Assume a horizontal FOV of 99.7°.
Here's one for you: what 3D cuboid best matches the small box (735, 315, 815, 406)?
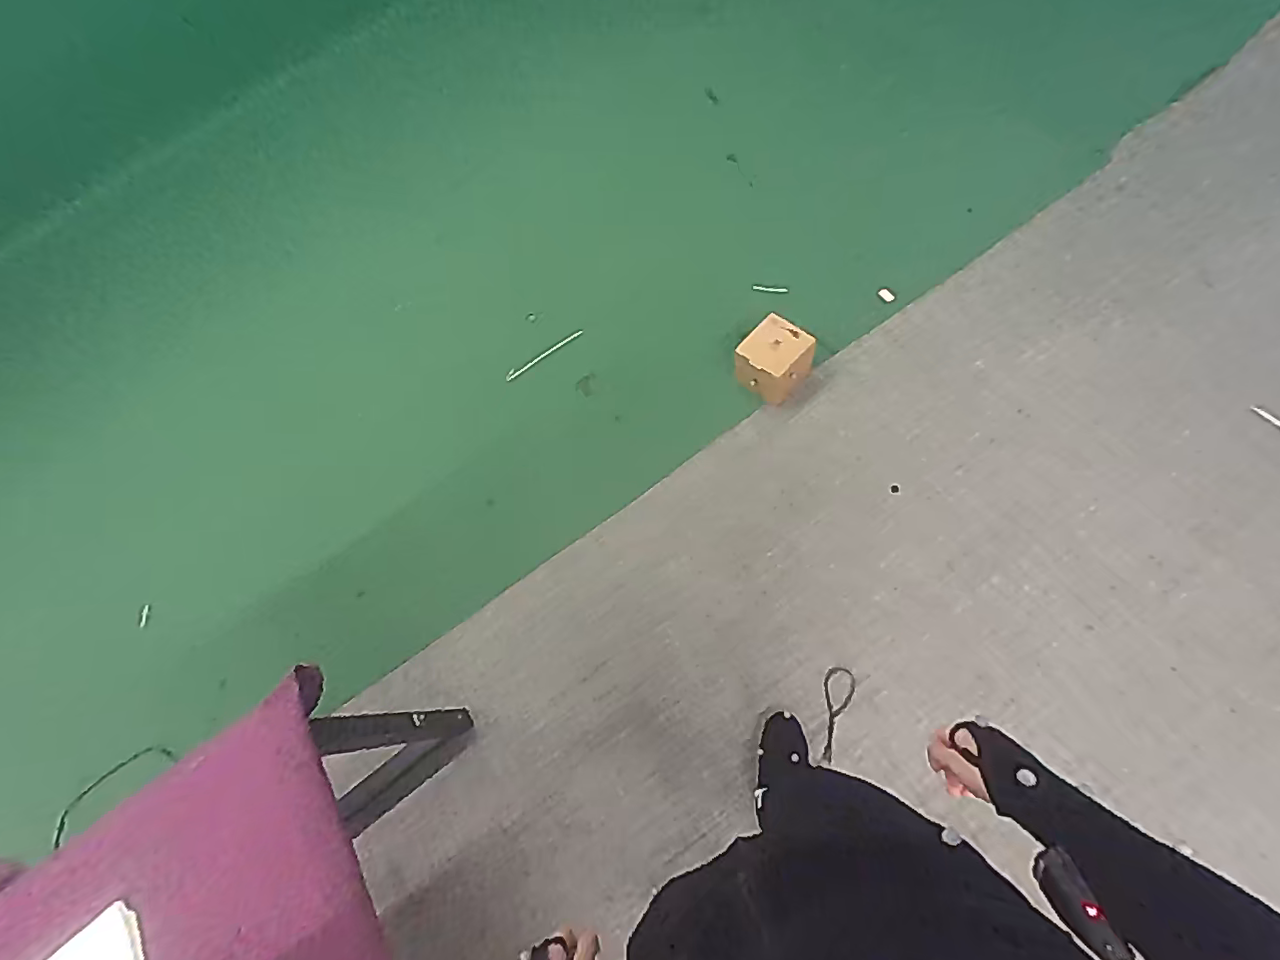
[{"bbox_3d":[0.416,-0.362,1.668,0.168,0.176,0.179,41,81,22],"label":"small box"}]
